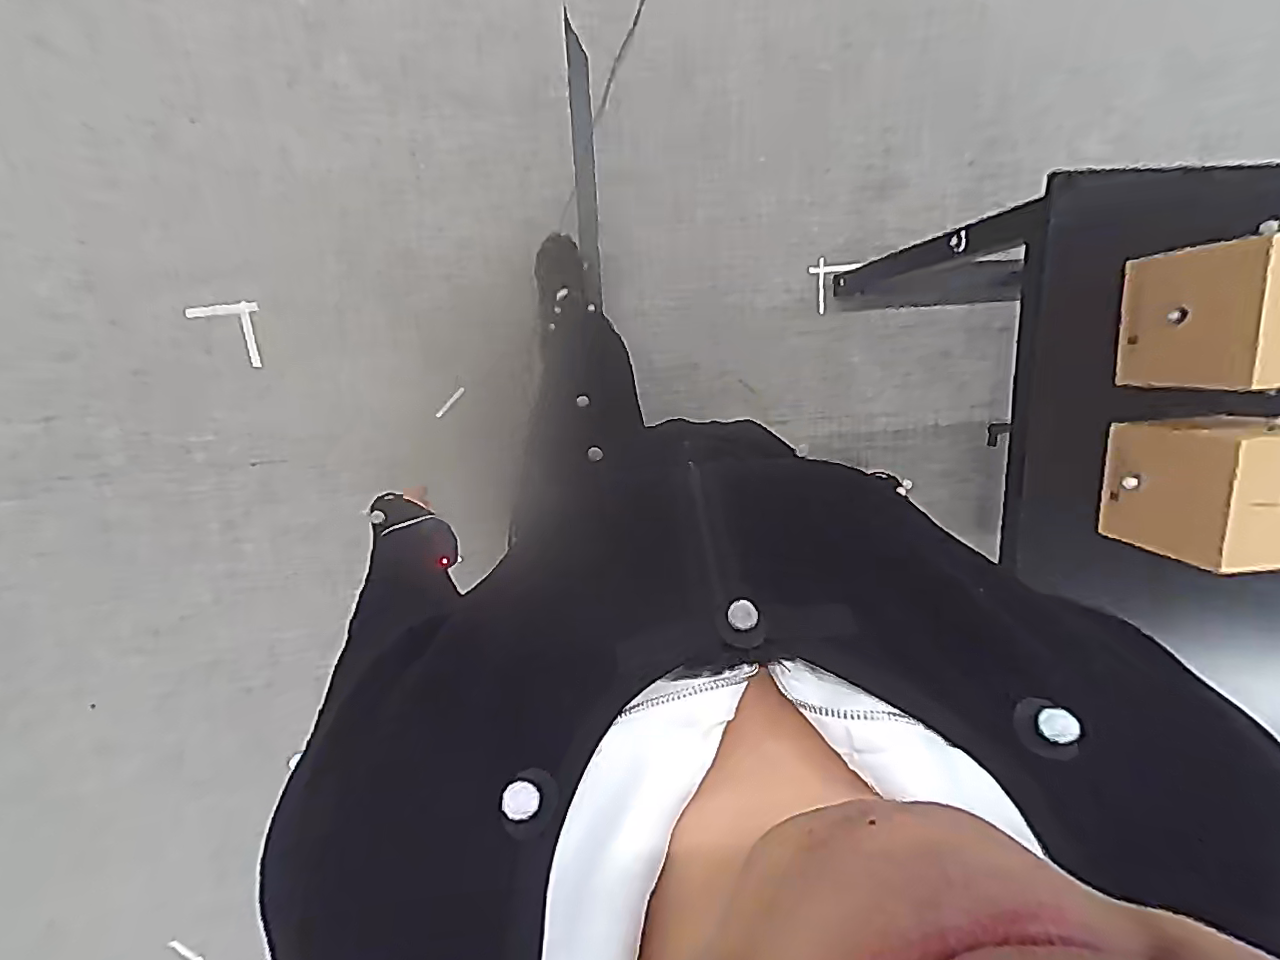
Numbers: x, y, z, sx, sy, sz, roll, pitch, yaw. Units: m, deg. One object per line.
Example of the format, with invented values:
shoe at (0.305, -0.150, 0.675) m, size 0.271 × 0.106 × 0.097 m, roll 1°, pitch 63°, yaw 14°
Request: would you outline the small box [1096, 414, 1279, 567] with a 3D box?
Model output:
small box at (0.769, 0.004, 0.718) m, size 0.179 × 0.176 × 0.168 m, roll -4°, pitch 102°, yaw -3°
